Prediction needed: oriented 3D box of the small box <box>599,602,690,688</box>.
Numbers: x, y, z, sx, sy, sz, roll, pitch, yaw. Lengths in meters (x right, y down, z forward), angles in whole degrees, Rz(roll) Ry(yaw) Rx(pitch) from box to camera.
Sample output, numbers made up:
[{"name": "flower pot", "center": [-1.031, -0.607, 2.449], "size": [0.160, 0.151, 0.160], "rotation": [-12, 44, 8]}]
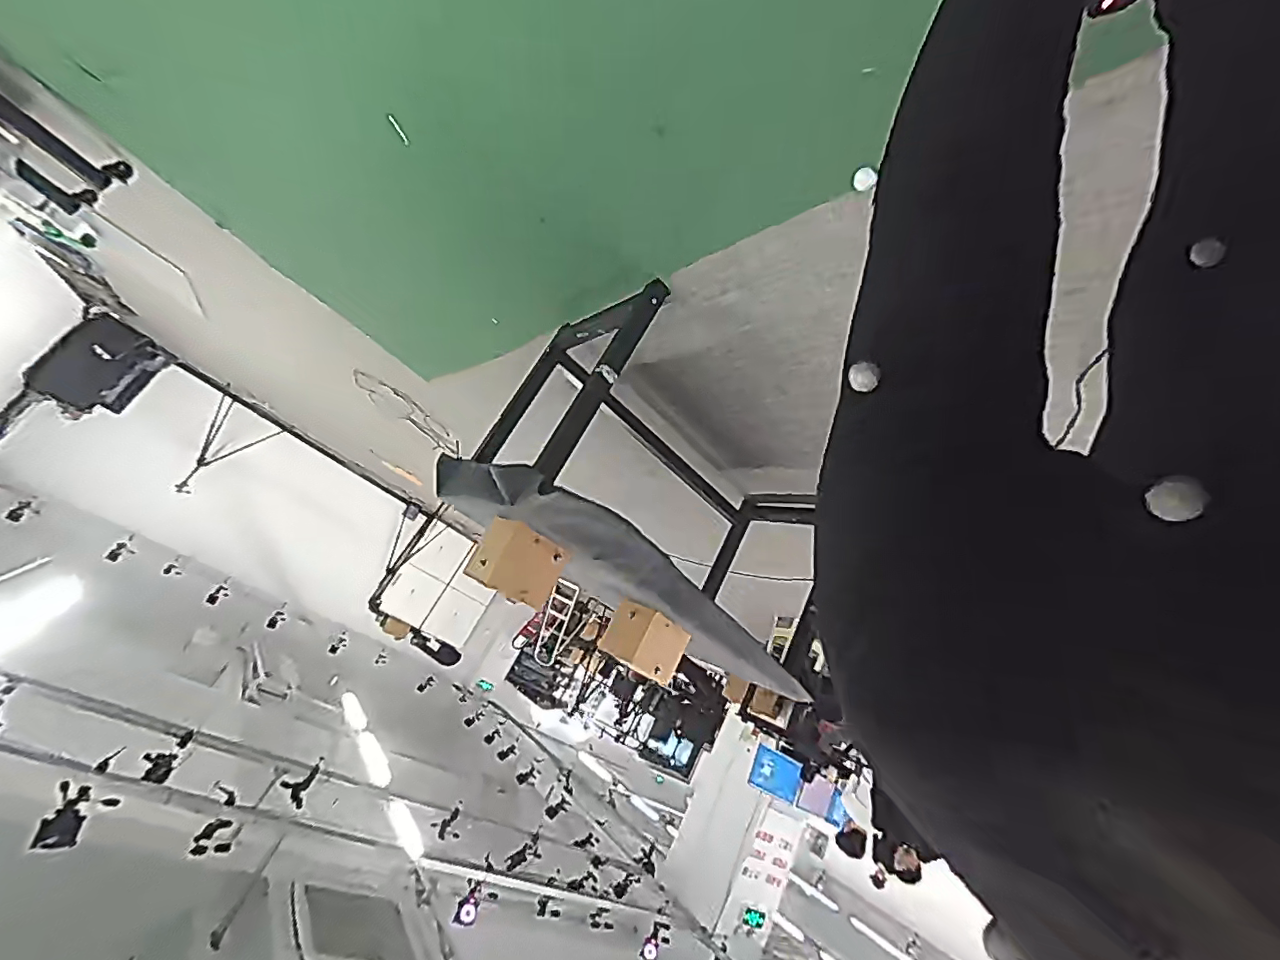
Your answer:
[{"name": "small box", "center": [0.017, 0.484, 1.612], "size": [0.168, 0.176, 0.179], "rotation": [40, 159, -29]}]

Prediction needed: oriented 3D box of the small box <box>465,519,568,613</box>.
[{"name": "small box", "center": [-0.305, 0.210, 1.362], "size": [0.168, 0.176, 0.179], "rotation": [38, 161, -30]}]
